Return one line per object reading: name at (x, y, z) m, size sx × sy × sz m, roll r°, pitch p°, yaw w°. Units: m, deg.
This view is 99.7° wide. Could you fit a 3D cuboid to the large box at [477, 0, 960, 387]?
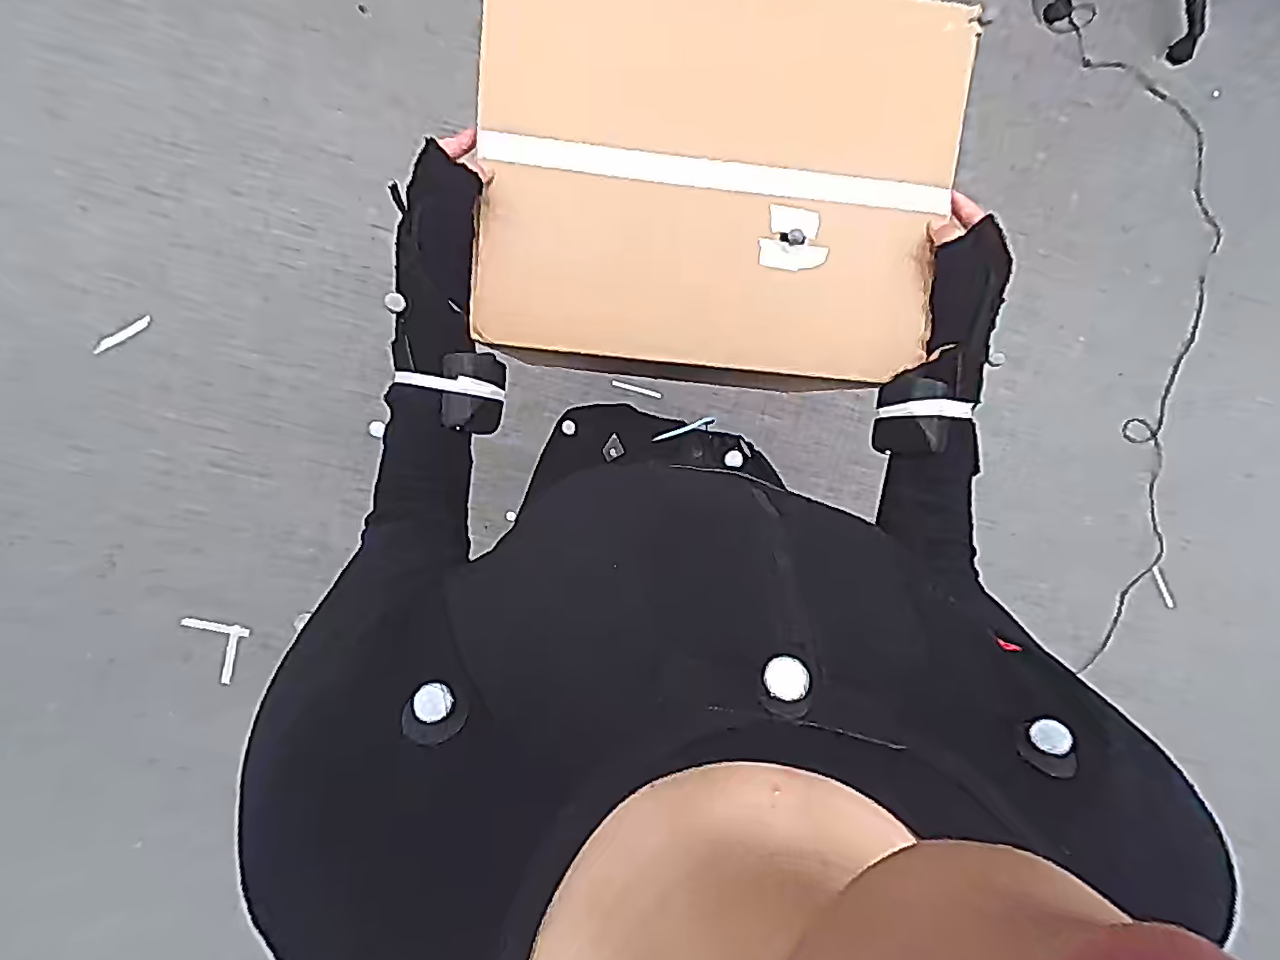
large box at (0.053, -0.280, 0.613) m, size 0.408 × 0.320 × 0.320 m, roll 5°, pitch 99°, yaw -6°
